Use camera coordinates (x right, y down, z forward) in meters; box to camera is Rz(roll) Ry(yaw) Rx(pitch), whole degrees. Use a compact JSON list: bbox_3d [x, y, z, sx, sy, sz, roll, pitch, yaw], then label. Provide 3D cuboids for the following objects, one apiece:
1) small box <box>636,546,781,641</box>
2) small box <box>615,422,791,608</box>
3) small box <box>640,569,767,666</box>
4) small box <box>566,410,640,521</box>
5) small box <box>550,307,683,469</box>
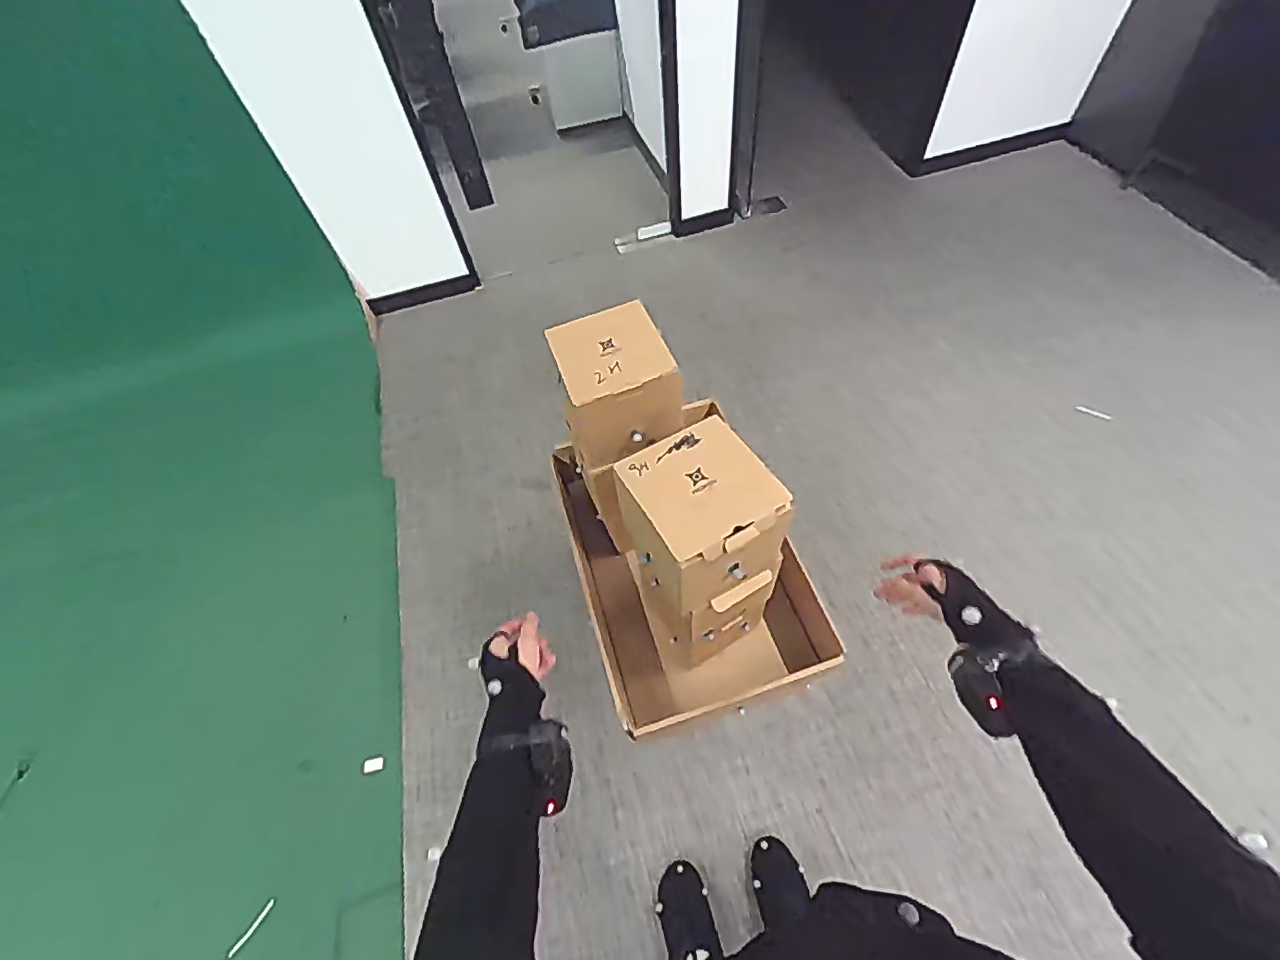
[{"bbox_3d":[0.107,0.144,0.893,0.168,0.176,0.179,-28,57,-13],"label":"small box"},{"bbox_3d":[0.083,0.058,0.754,0.168,0.176,0.179,-26,58,-12],"label":"small box"},{"bbox_3d":[0.119,0.232,1.030,0.168,0.176,0.179,-28,57,-13],"label":"small box"},{"bbox_3d":[-0.022,-0.049,1.033,0.179,0.176,0.168,-22,57,-7],"label":"small box"},{"bbox_3d":[-0.035,-0.149,0.902,0.168,0.176,0.179,-20,58,-5],"label":"small box"}]
